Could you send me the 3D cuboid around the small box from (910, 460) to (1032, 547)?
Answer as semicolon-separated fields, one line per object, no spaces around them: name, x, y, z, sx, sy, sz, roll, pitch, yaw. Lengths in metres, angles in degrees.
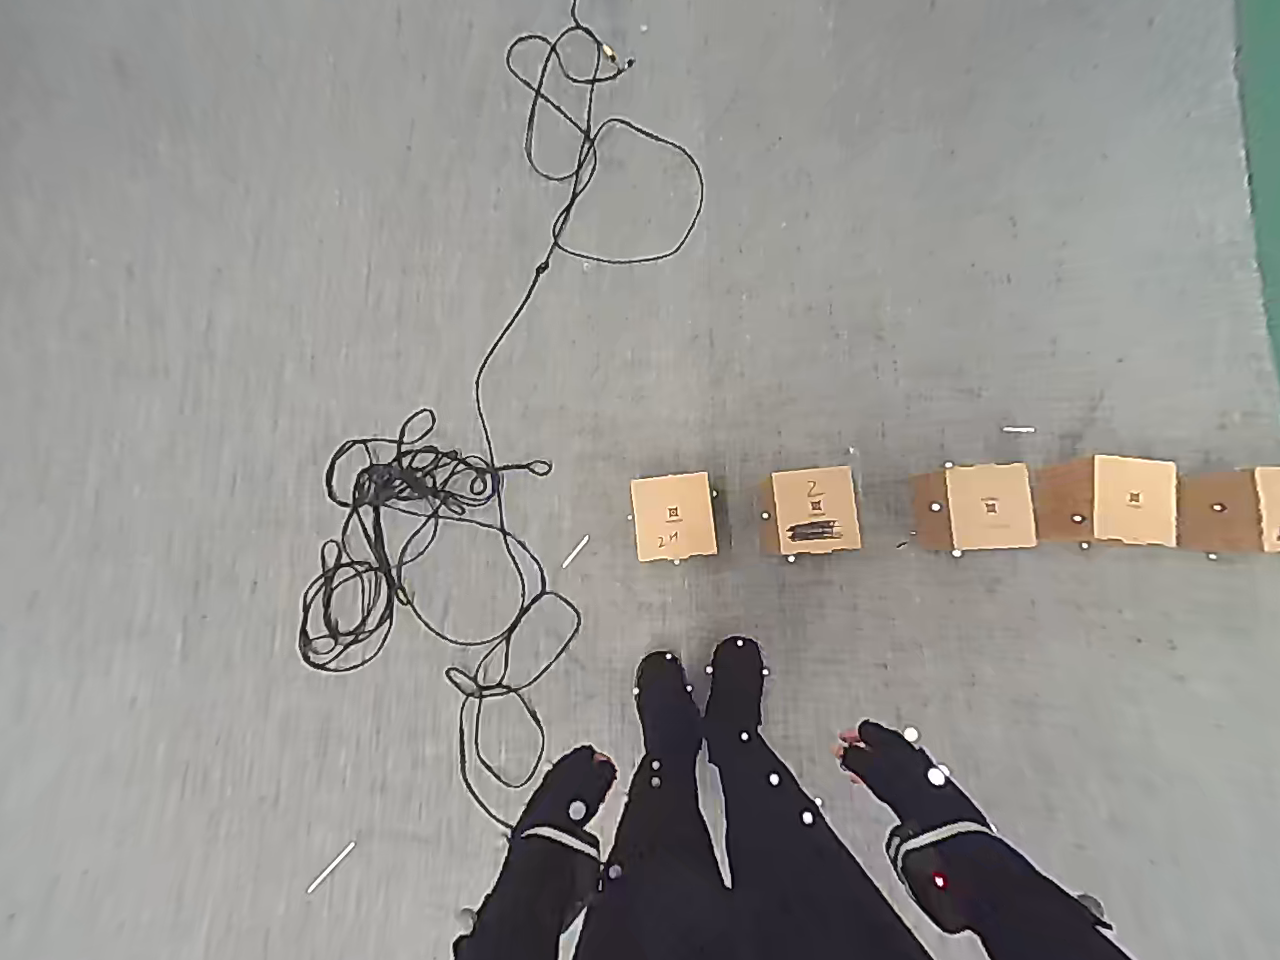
small box;0.718;0.057;1.192;0.168;0.176;0.179;-3;84;3

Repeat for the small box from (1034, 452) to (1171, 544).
small box;1.003;0.045;1.186;0.168;0.176;0.179;6;84;2

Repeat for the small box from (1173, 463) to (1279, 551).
small box;1.322;0.064;1.173;0.168;0.176;0.179;1;82;2

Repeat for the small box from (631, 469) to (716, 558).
small box;0.071;0.080;1.209;0.168;0.176;0.179;-6;83;2
